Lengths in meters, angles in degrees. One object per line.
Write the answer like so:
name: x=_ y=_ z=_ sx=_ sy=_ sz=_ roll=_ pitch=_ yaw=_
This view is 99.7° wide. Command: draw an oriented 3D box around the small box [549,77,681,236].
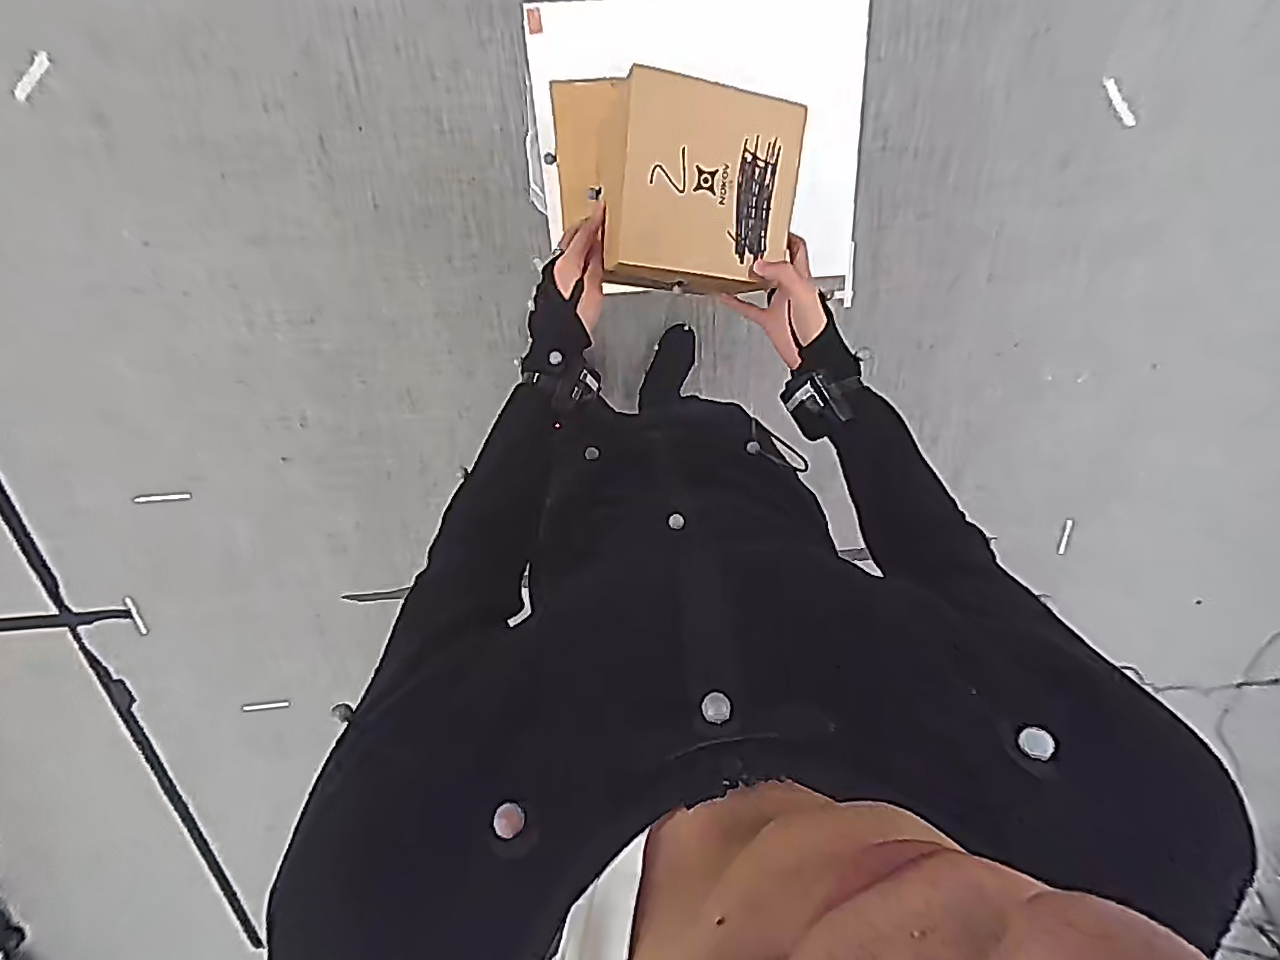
small box: x=-0.035 y=-0.447 z=0.773 sx=0.168 sy=0.176 sz=0.179 roll=-5 pitch=113 yaw=-4
